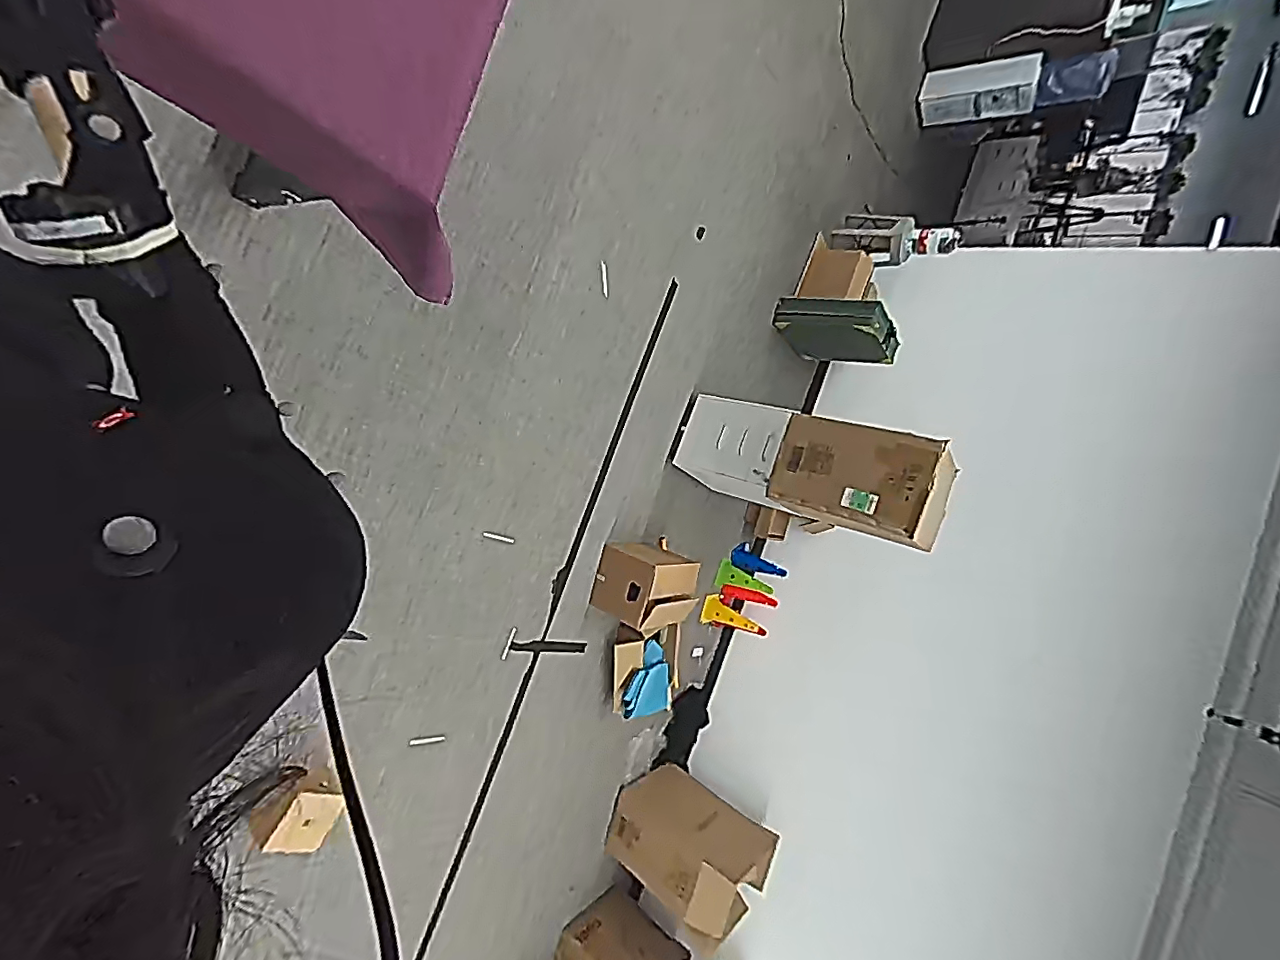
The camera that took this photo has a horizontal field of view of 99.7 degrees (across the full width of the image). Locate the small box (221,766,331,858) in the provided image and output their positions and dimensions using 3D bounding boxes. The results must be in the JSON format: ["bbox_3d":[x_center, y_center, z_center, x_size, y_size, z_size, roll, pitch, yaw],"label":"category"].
[{"bbox_3d":[-1.047,0.952,1.555,0.168,0.176,0.179,-61,143,-18],"label":"small box"}]
